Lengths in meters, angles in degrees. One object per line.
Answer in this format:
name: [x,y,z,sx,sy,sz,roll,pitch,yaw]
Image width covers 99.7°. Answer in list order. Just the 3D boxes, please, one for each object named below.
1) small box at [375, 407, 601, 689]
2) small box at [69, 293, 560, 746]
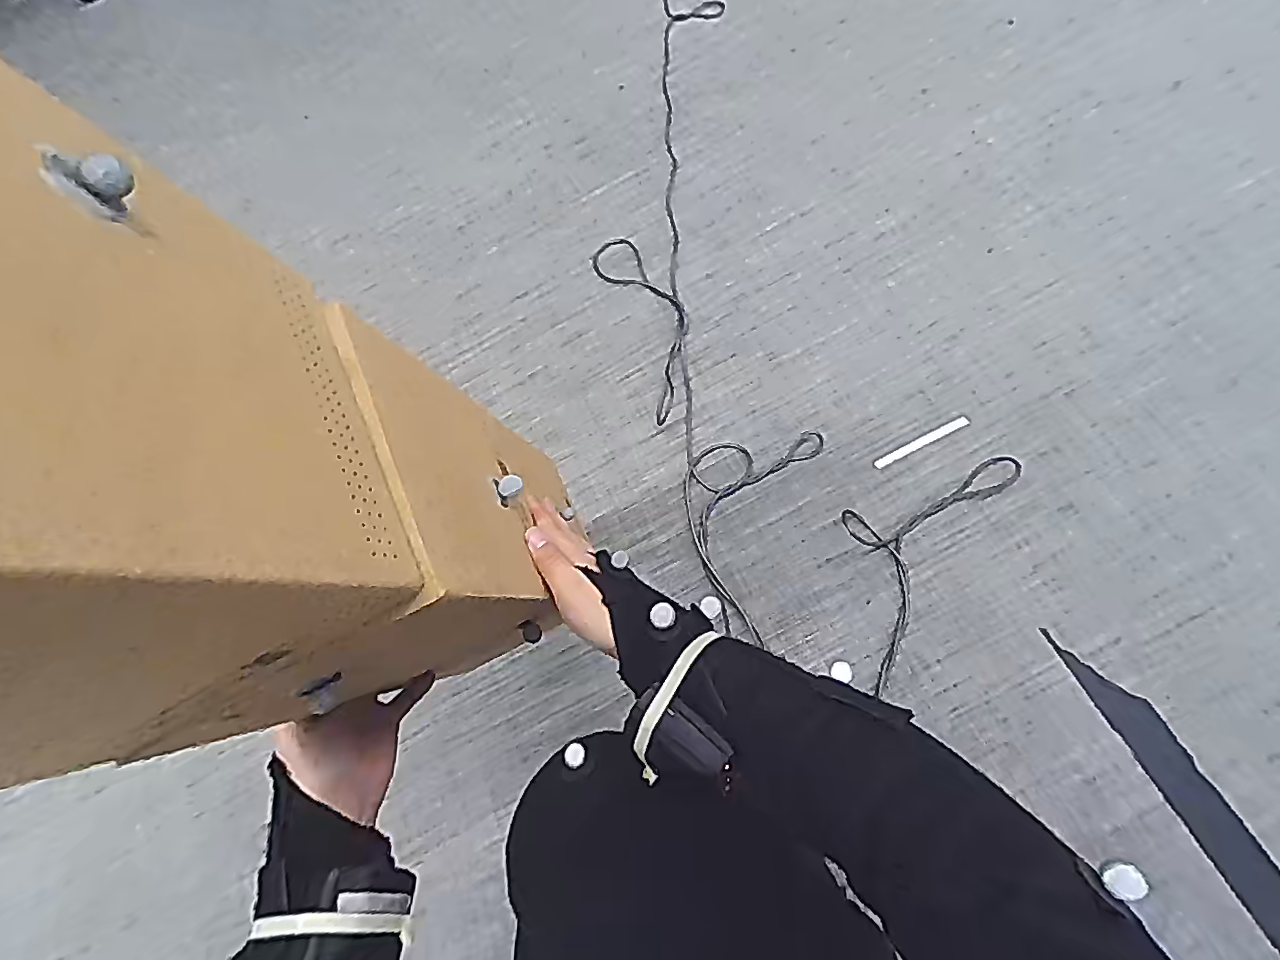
small box: [-0.149,0.065,0.491,0.179,0.176,0.168,-28,73,4]
small box: [-0.176,0.031,0.333,0.179,0.176,0.168,-27,74,3]
